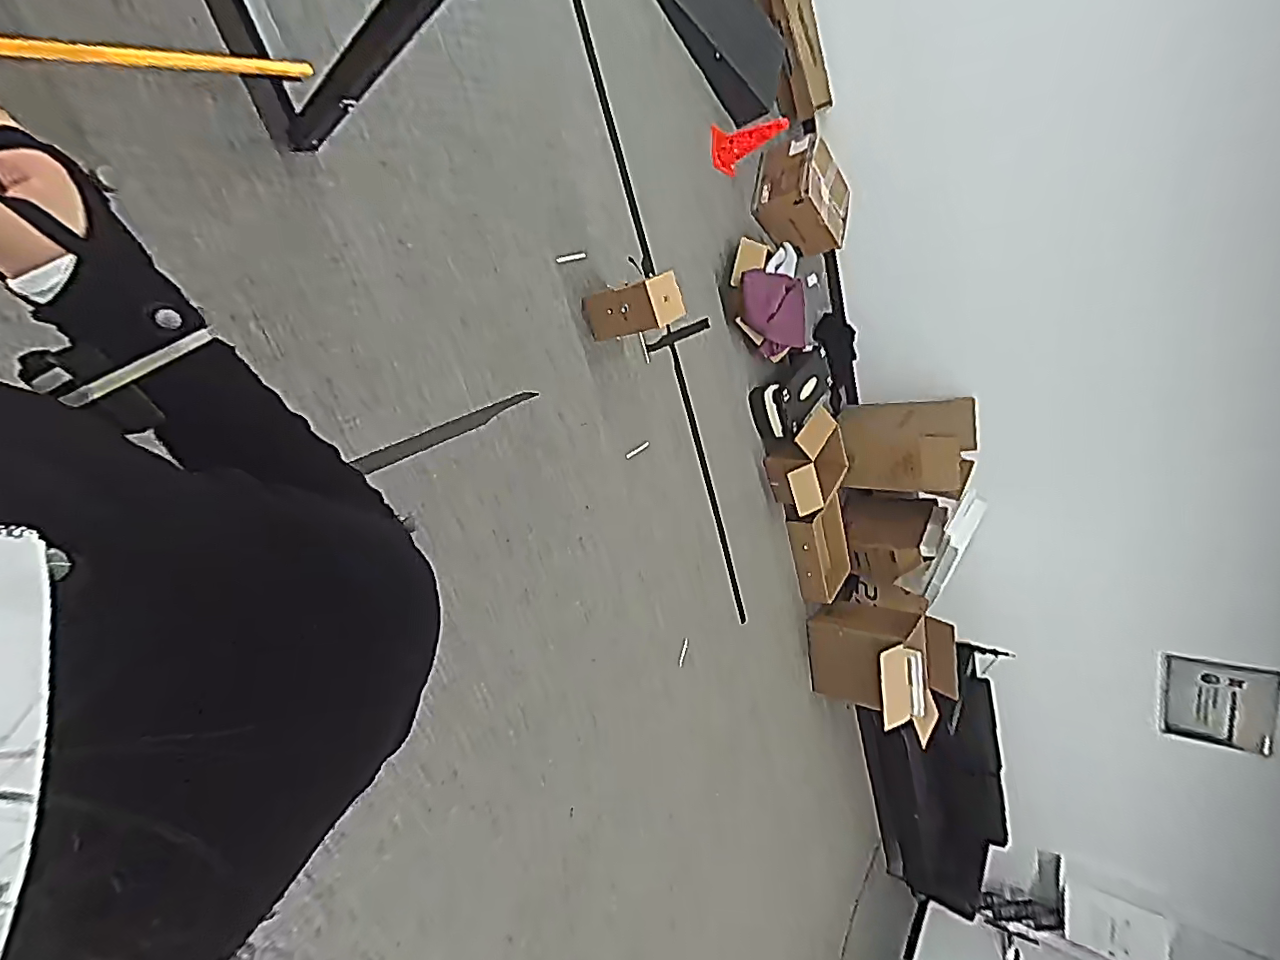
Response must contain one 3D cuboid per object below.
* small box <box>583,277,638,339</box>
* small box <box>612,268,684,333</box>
[{"bbox_3d":[-0.093,-0.659,2.076,0.168,0.176,0.179,-38,118,-41],"label":"small box"},{"bbox_3d":[0.028,-0.651,1.967,0.179,0.176,0.168,-39,118,-39],"label":"small box"}]
